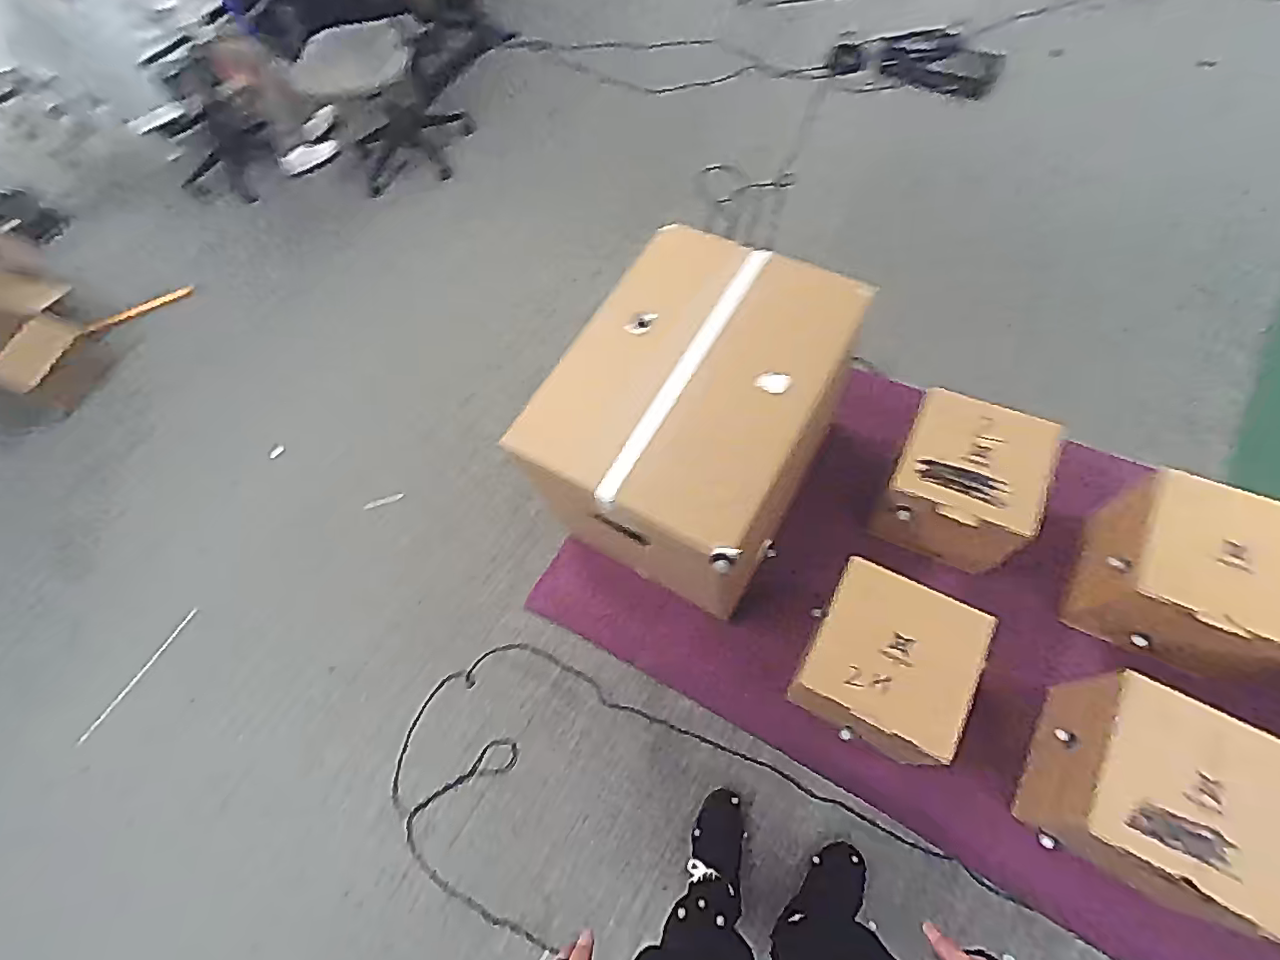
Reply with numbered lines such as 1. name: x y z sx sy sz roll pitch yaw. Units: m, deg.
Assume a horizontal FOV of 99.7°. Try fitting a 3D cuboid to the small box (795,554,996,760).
1. small box: 0.309 0.227 0.686 0.168 0.176 0.179 24 69 21
